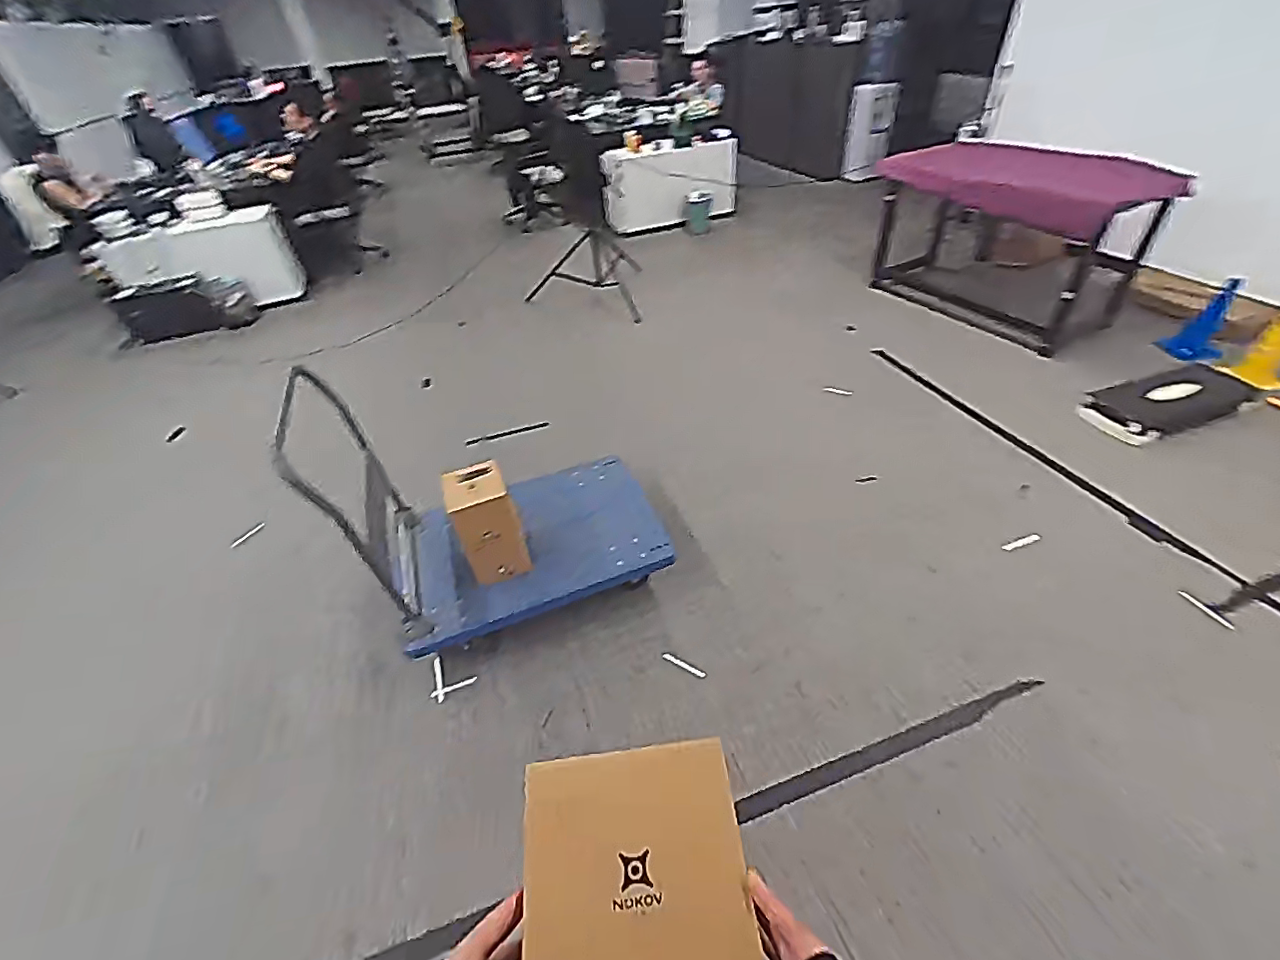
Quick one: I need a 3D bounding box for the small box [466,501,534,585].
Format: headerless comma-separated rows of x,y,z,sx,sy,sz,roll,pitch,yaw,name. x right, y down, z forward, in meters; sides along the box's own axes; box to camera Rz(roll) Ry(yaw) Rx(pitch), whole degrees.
-0.444,0.200,1.711,0.168,0.176,0.179,-16,42,-10,small box
